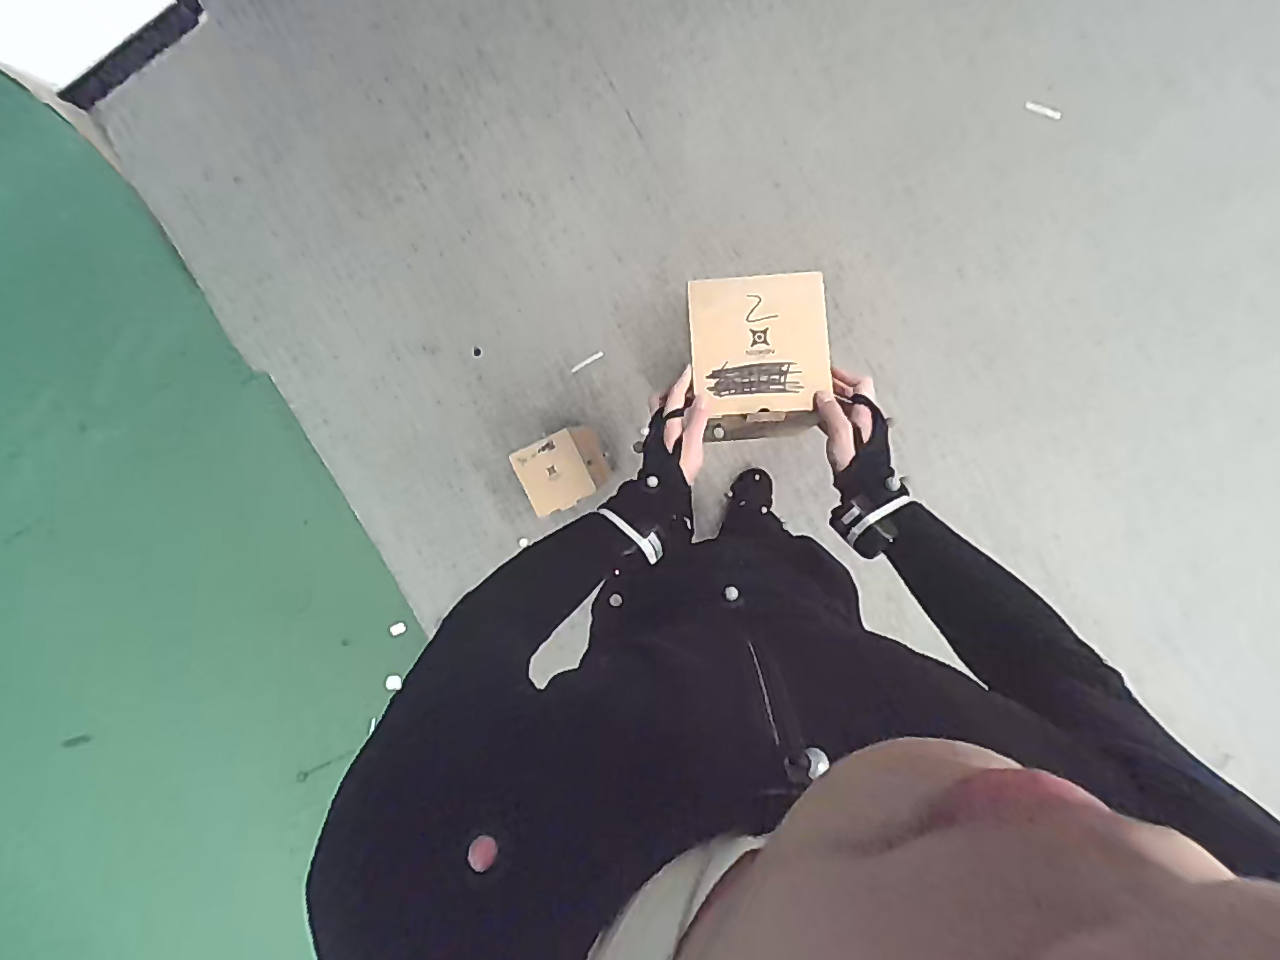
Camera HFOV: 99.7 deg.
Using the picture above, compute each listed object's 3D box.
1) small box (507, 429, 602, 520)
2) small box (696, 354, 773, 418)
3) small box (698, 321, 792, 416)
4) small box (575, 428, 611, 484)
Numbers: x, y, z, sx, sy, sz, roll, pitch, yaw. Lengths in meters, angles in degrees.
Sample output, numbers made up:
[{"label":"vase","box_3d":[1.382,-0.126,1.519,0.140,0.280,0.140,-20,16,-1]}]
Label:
[{"label":"small box","box_3d":[-0.209,-0.020,1.388,0.168,0.176,0.179,-24,95,6]},{"label":"small box","box_3d":[0.254,-0.276,1.496,0.168,0.176,0.179,-17,95,7]},{"label":"small box","box_3d":[0.250,-0.266,1.336,0.168,0.176,0.179,-23,94,5]},{"label":"small box","box_3d":[-0.197,-0.042,1.550,0.179,0.176,0.168,-24,94,5]}]
